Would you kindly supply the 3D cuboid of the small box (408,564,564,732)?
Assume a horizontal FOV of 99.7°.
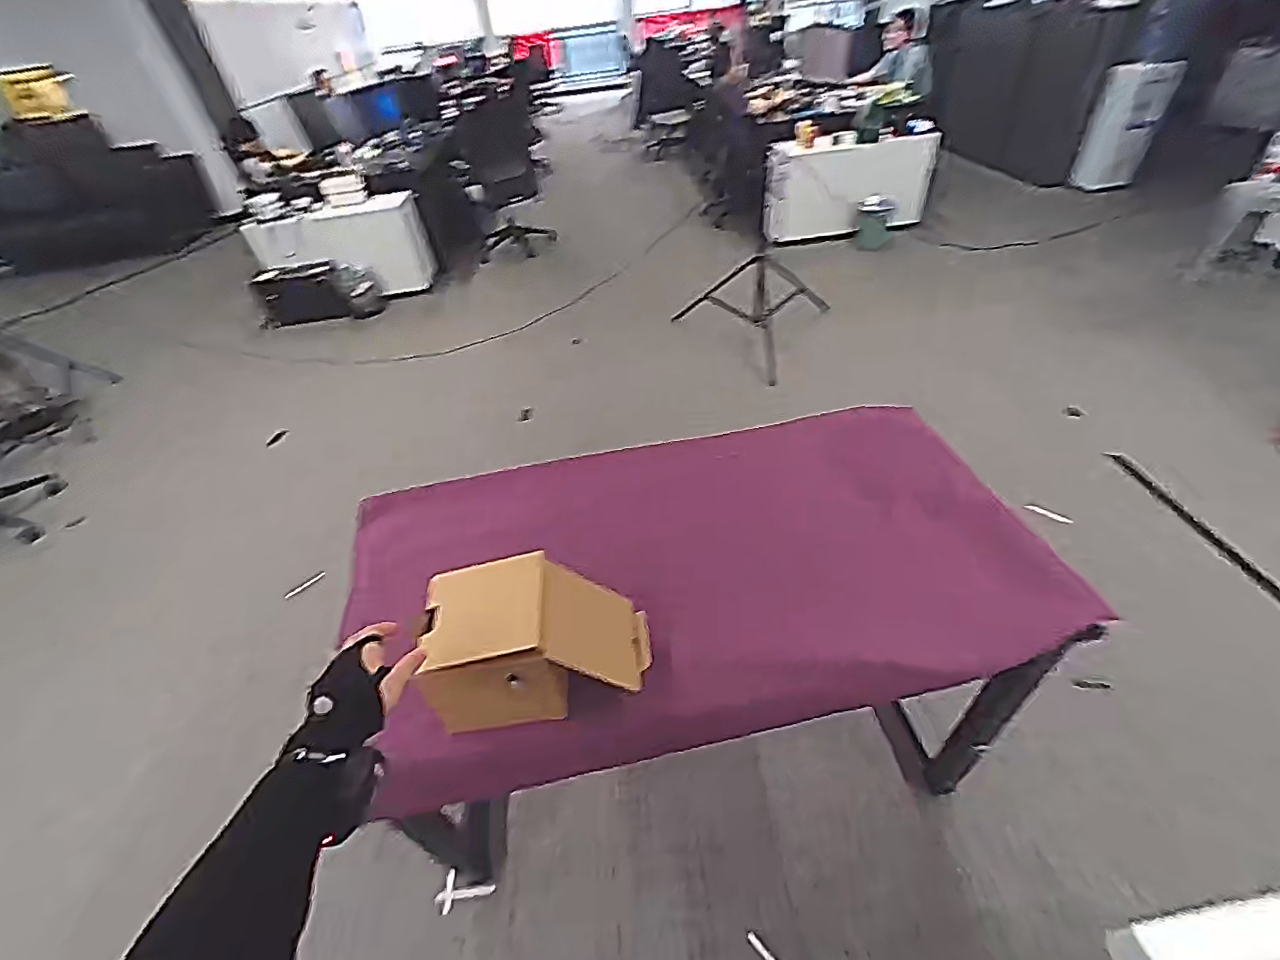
[{"bbox_3d":[-0.212,0.250,0.804,0.179,0.176,0.168,-9,40,-1],"label":"small box"}]
